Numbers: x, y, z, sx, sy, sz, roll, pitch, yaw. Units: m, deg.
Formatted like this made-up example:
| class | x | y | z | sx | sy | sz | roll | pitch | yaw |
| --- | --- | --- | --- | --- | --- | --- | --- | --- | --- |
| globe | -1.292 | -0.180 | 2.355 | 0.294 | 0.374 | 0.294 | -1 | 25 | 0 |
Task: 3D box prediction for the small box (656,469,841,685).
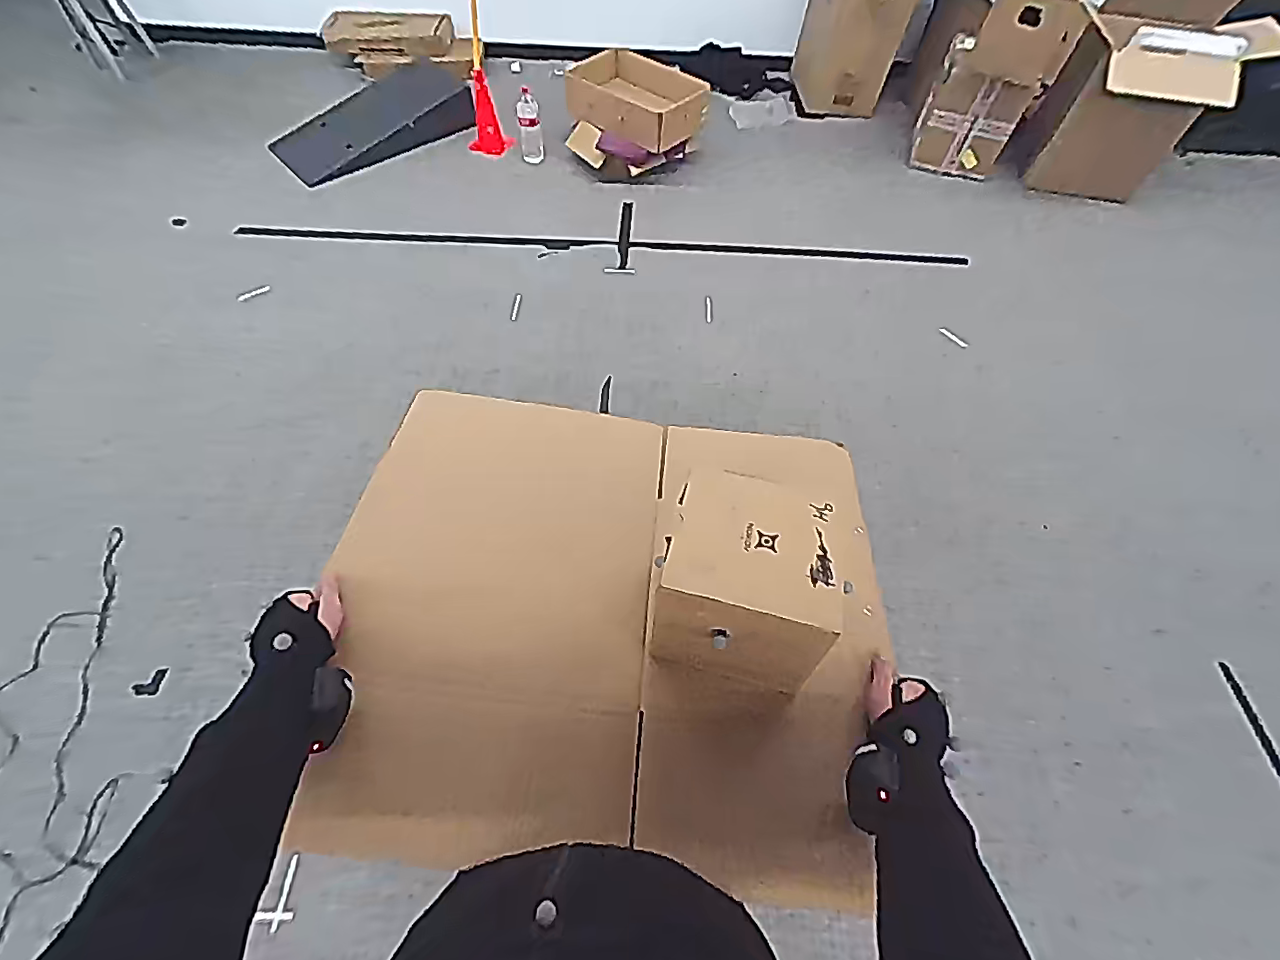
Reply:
| class | x | y | z | sx | sy | sz | roll | pitch | yaw |
| --- | --- | --- | --- | --- | --- | --- | --- | --- | --- |
| small box | 0.119 | 0.115 | 0.624 | 0.179 | 0.176 | 0.168 | 12 | 51 | 9 |
